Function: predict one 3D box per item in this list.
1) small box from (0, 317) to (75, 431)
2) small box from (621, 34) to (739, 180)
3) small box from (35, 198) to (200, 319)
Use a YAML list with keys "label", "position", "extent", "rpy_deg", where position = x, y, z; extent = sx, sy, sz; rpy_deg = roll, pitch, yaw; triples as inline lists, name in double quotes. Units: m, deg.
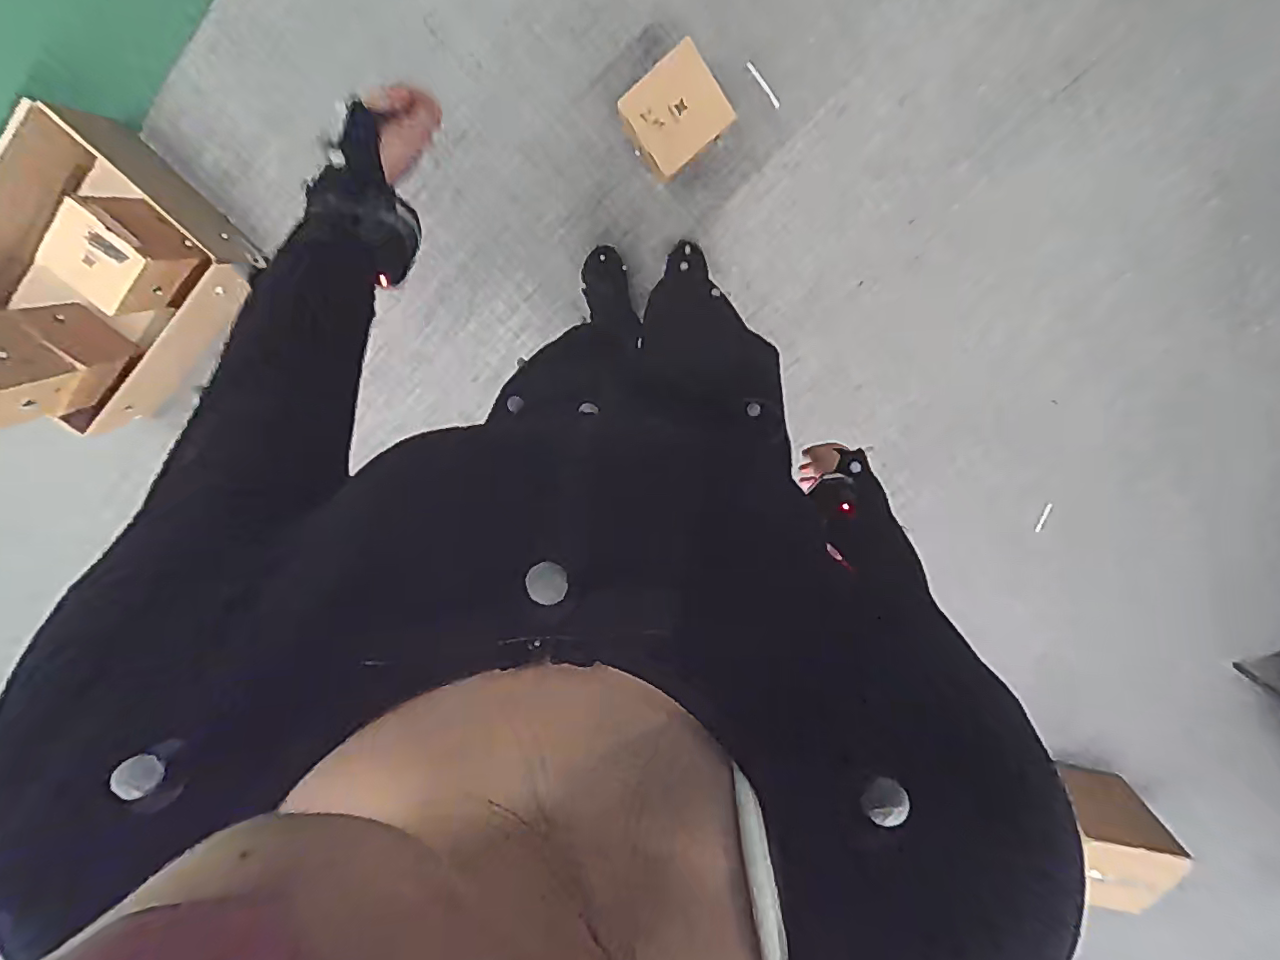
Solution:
- label: "small box"
  position: [-1.356, -0.215, 1.120]
  extent: [0.168, 0.176, 0.179]
  rpy_deg: [-37, 111, 16]
- label: "small box"
  position: [0.075, -0.751, 1.114]
  extent: [0.179, 0.176, 0.168]
  rpy_deg: [-35, 110, 15]
- label: "small box"
  position: [-1.117, -0.483, 1.175]
  extent: [0.179, 0.176, 0.168]
  rpy_deg: [-39, 110, 17]
